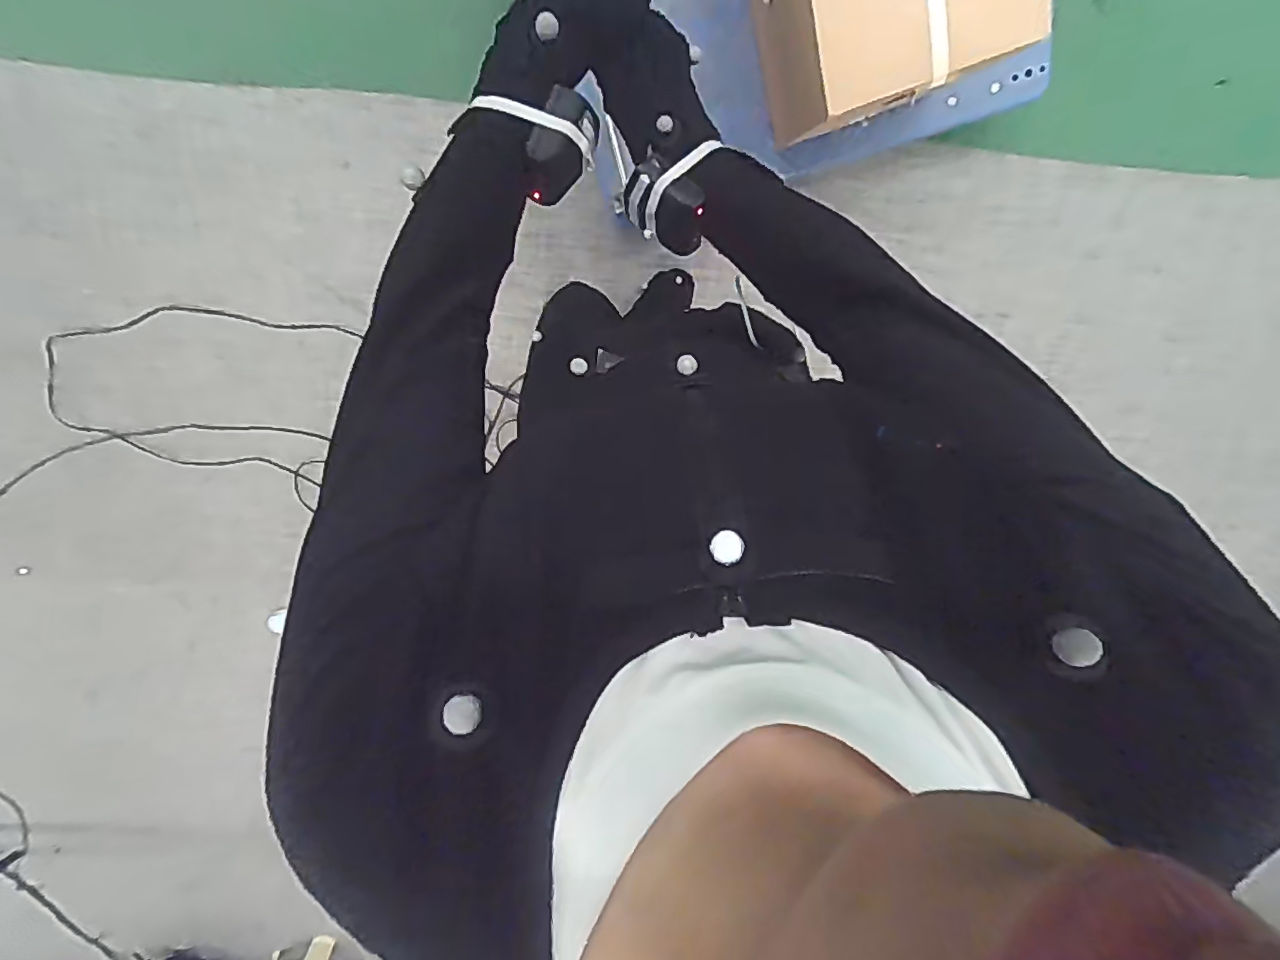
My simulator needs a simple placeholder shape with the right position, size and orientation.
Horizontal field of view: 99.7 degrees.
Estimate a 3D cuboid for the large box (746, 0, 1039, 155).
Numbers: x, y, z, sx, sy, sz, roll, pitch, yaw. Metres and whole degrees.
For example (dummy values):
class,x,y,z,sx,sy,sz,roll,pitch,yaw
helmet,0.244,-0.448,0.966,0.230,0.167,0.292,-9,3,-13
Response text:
class,x,y,z,sx,sy,sz,roll,pitch,yaw
large box,0.352,-0.799,0.841,0.320,0.320,0.408,-17,112,6
